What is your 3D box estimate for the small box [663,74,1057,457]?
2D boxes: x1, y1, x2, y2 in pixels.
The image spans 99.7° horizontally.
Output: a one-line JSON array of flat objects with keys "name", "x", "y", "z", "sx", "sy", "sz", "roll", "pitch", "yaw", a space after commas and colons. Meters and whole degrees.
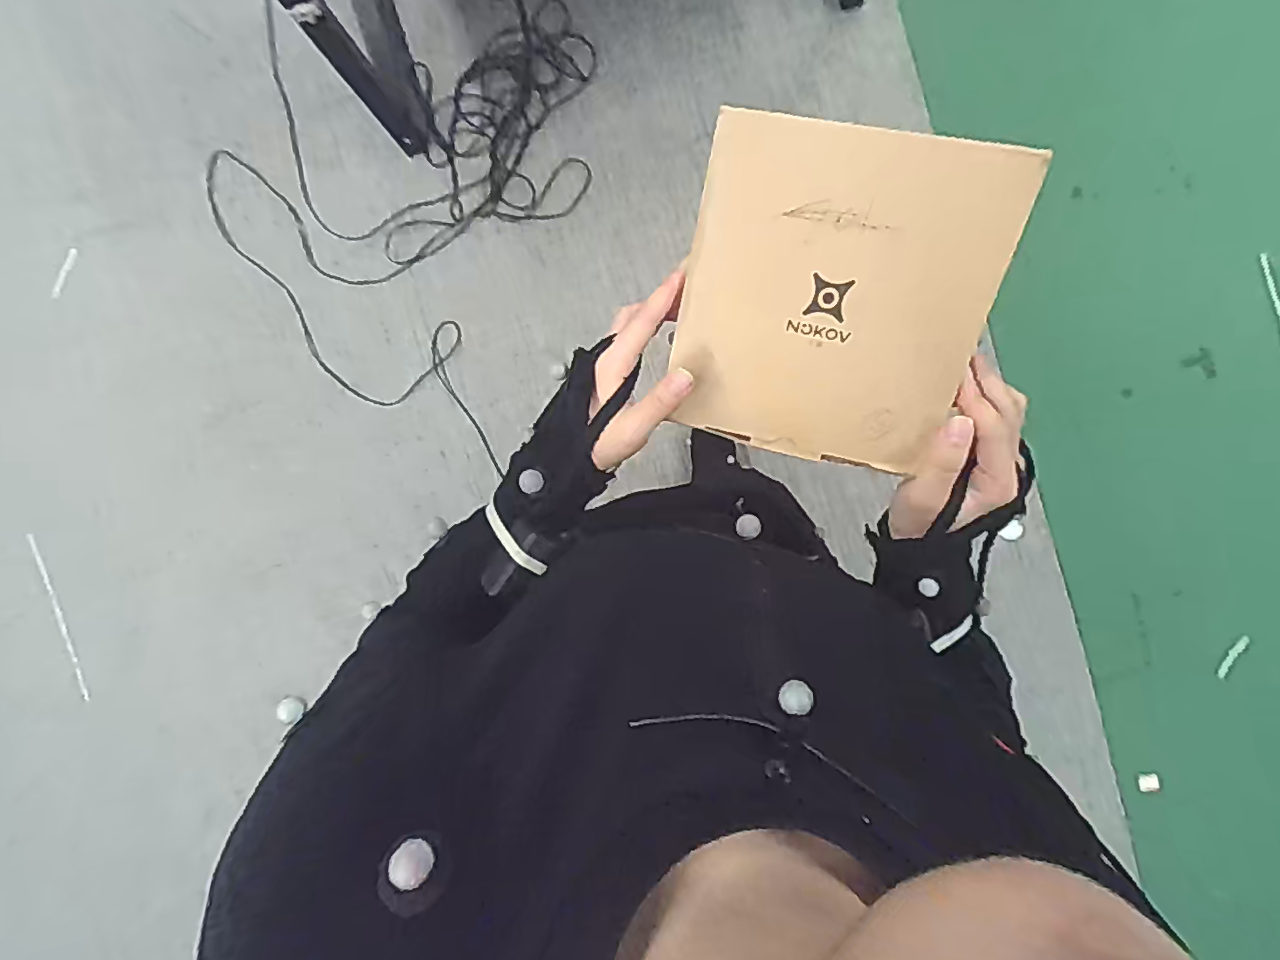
[{"name": "small box", "x": 0.123, "y": -0.136, "z": 0.369, "sx": 0.168, "sy": 0.176, "sz": 0.179, "roll": 13, "pitch": 111, "yaw": 8}]
